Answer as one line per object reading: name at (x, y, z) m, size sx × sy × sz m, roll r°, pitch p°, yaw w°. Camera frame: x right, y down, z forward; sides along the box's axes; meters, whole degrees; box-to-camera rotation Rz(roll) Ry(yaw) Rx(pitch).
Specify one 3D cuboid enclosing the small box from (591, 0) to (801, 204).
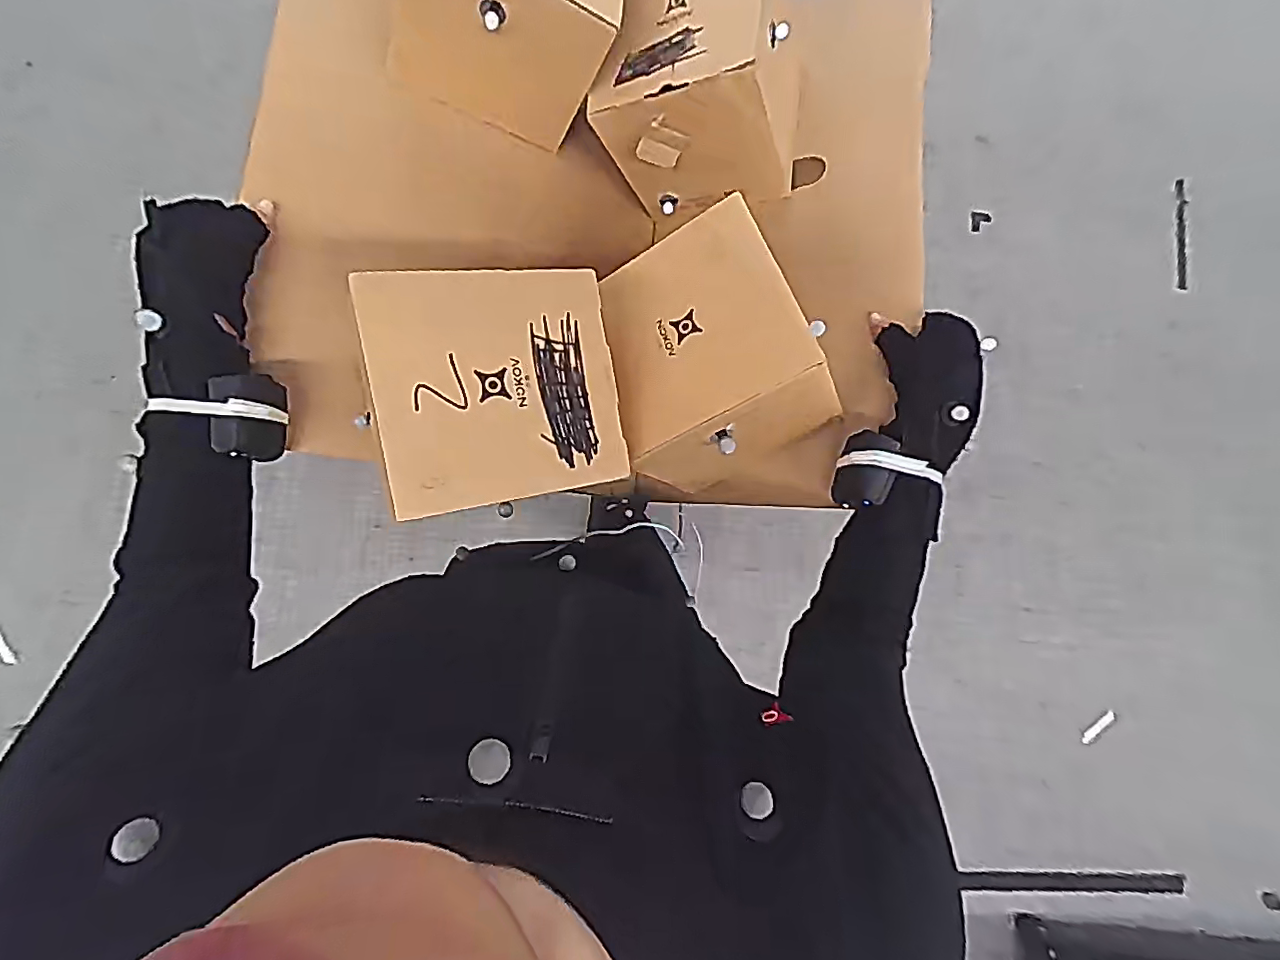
small box at (0.069, -0.419, 0.569) m, size 0.168 × 0.176 × 0.179 m, roll 3°, pitch 79°, yaw 26°
